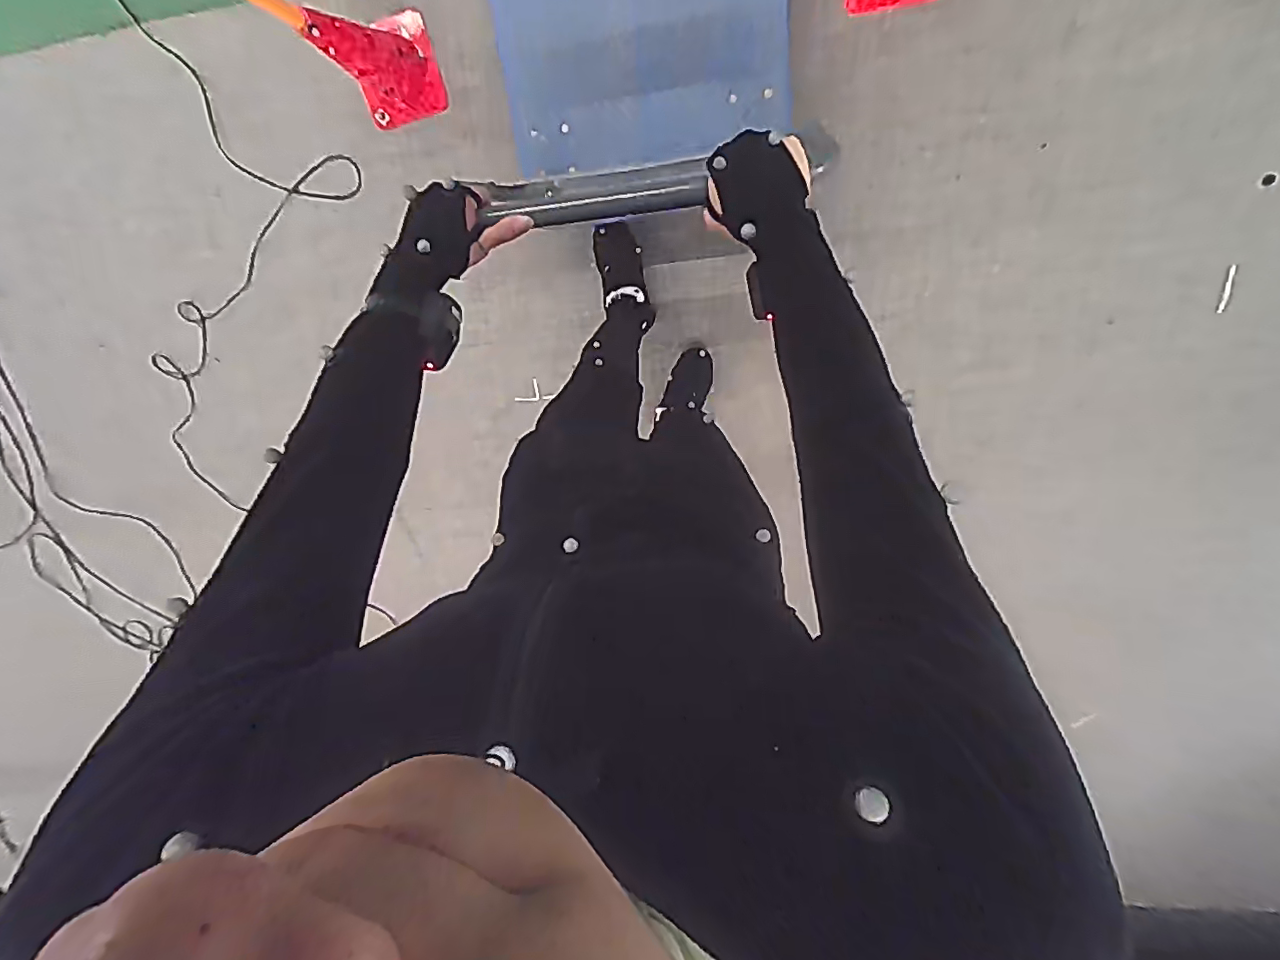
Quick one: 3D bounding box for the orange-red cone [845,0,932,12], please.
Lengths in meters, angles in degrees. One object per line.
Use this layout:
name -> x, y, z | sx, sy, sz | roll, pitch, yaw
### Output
orange-red cone -> 0.500, -1.010, 0.931 | 0.198, 0.360, 0.199 | -4, 112, 7
